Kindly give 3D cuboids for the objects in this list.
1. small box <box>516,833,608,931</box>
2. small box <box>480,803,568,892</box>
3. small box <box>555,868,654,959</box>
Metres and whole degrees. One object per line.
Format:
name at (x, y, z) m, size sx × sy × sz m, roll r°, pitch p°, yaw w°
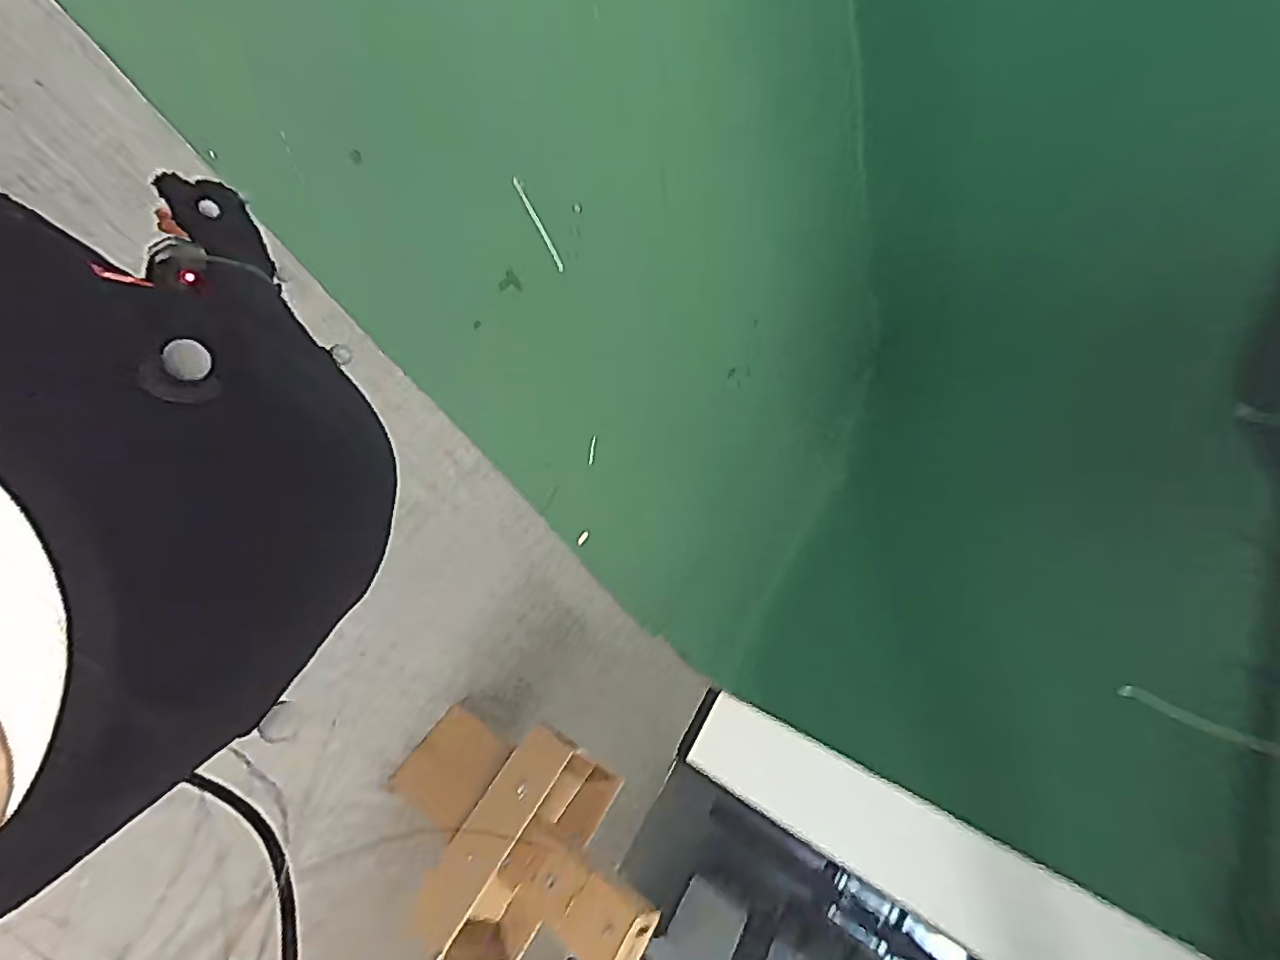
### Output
small box at (-0.224, 1.161, 1.564) m, size 0.168 × 0.176 × 0.179 m, roll -55°, pitch 139°, yaw -21°
small box at (-0.353, 1.125, 1.657) m, size 0.168 × 0.176 × 0.179 m, roll -55°, pitch 141°, yaw -21°
small box at (-0.096, 1.194, 1.464) m, size 0.179 × 0.176 × 0.168 m, roll -55°, pitch 140°, yaw -19°
